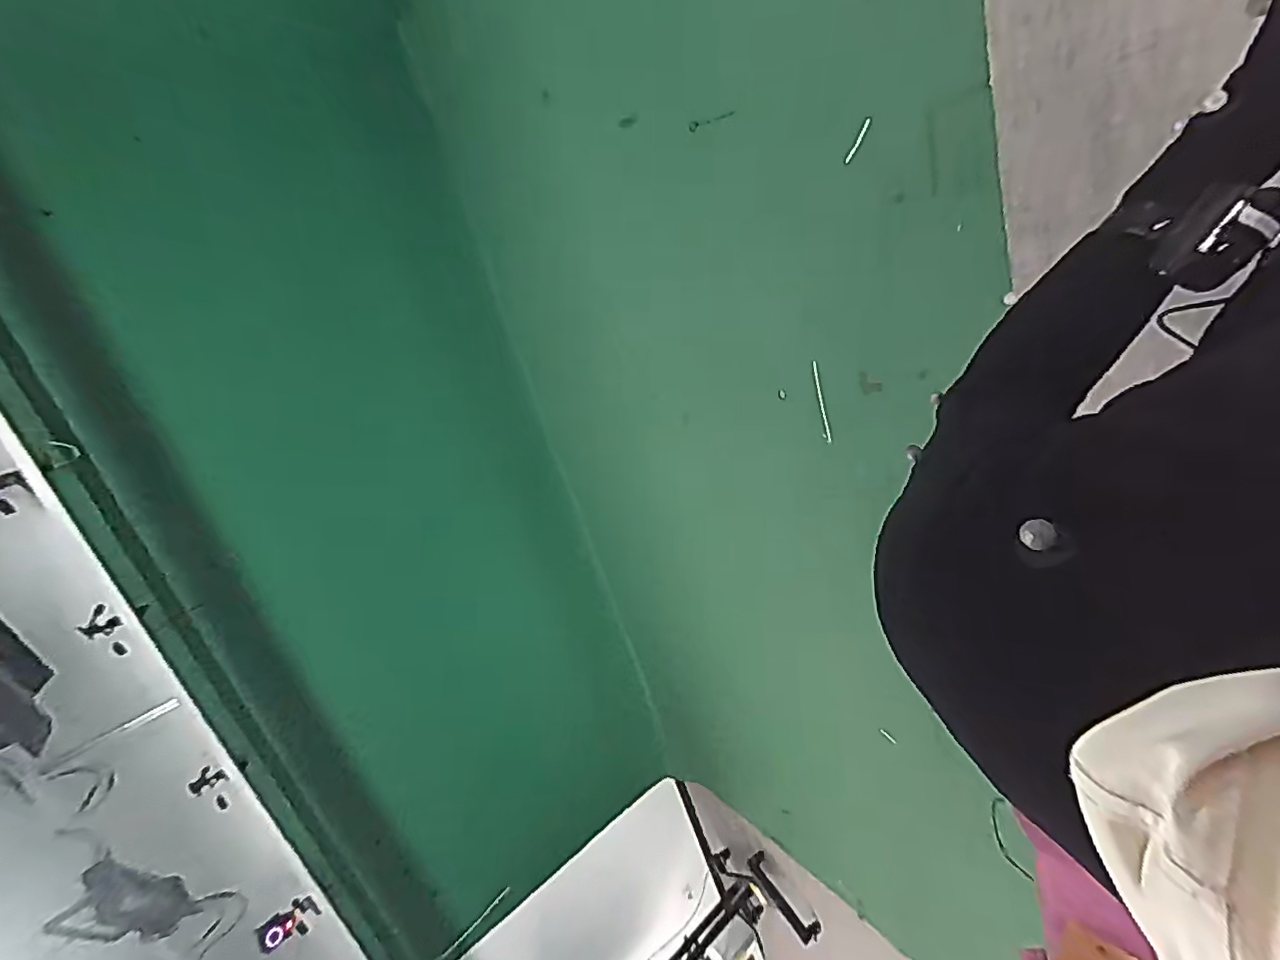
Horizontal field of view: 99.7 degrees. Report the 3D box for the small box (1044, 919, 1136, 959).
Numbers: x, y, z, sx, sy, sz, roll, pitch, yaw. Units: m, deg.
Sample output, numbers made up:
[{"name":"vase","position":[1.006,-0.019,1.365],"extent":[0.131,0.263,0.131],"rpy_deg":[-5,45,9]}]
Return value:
[{"name":"small box","position":[0.909,1.039,1.063],"extent":[0.168,0.176,0.179],"rpy_deg":[8,120,54]}]
